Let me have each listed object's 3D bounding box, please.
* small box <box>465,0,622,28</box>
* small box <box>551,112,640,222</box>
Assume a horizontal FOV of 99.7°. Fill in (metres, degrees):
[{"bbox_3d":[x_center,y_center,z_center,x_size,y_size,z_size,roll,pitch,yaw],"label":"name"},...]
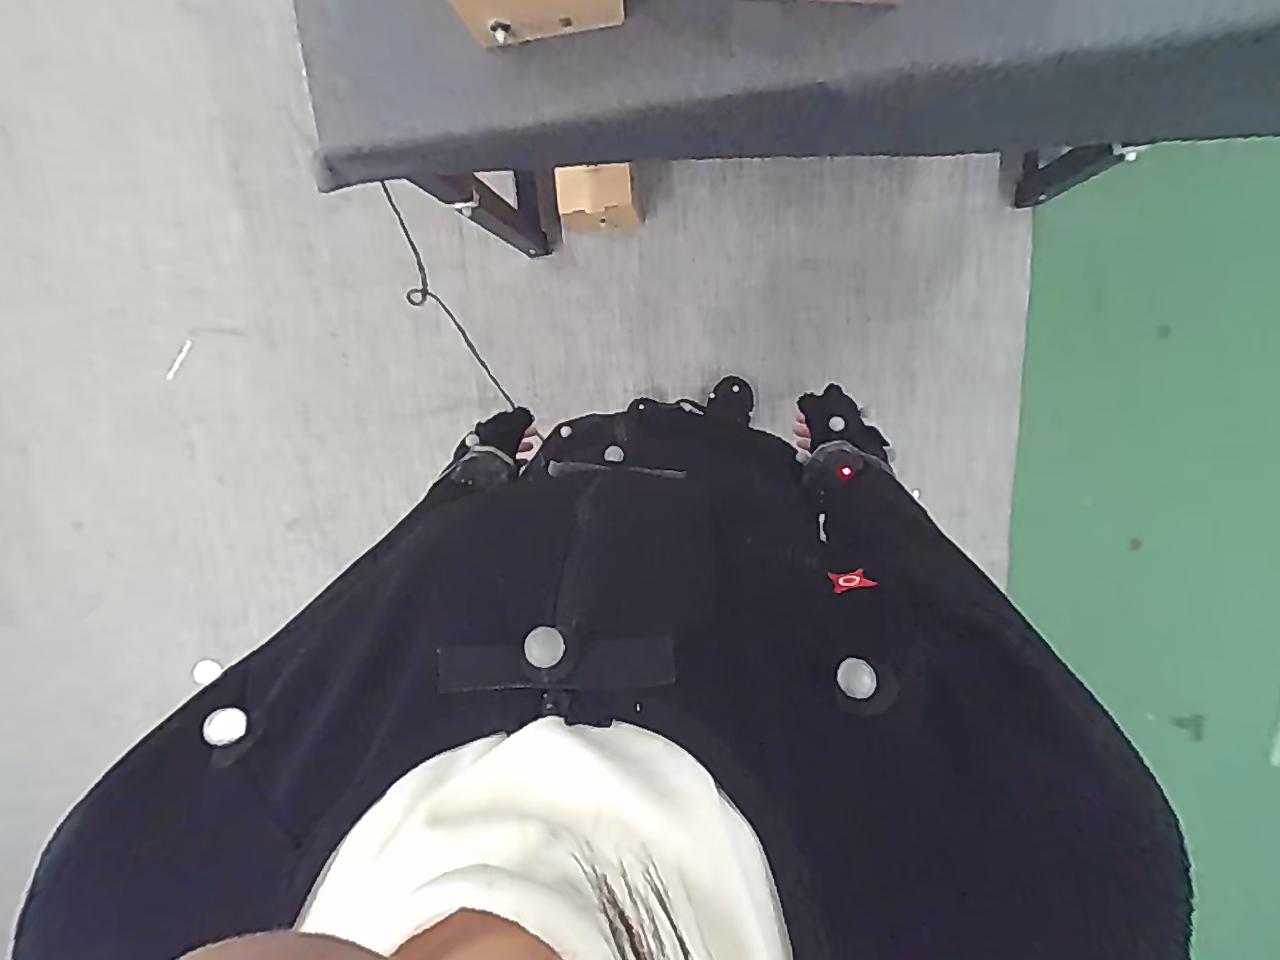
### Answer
[{"bbox_3d":[-0.111,-0.572,0.510,0.168,0.176,0.179,-2,99,7],"label":"small box"},{"bbox_3d":[-0.094,-0.700,1.233,0.168,0.176,0.179,-2,102,7],"label":"small box"}]
